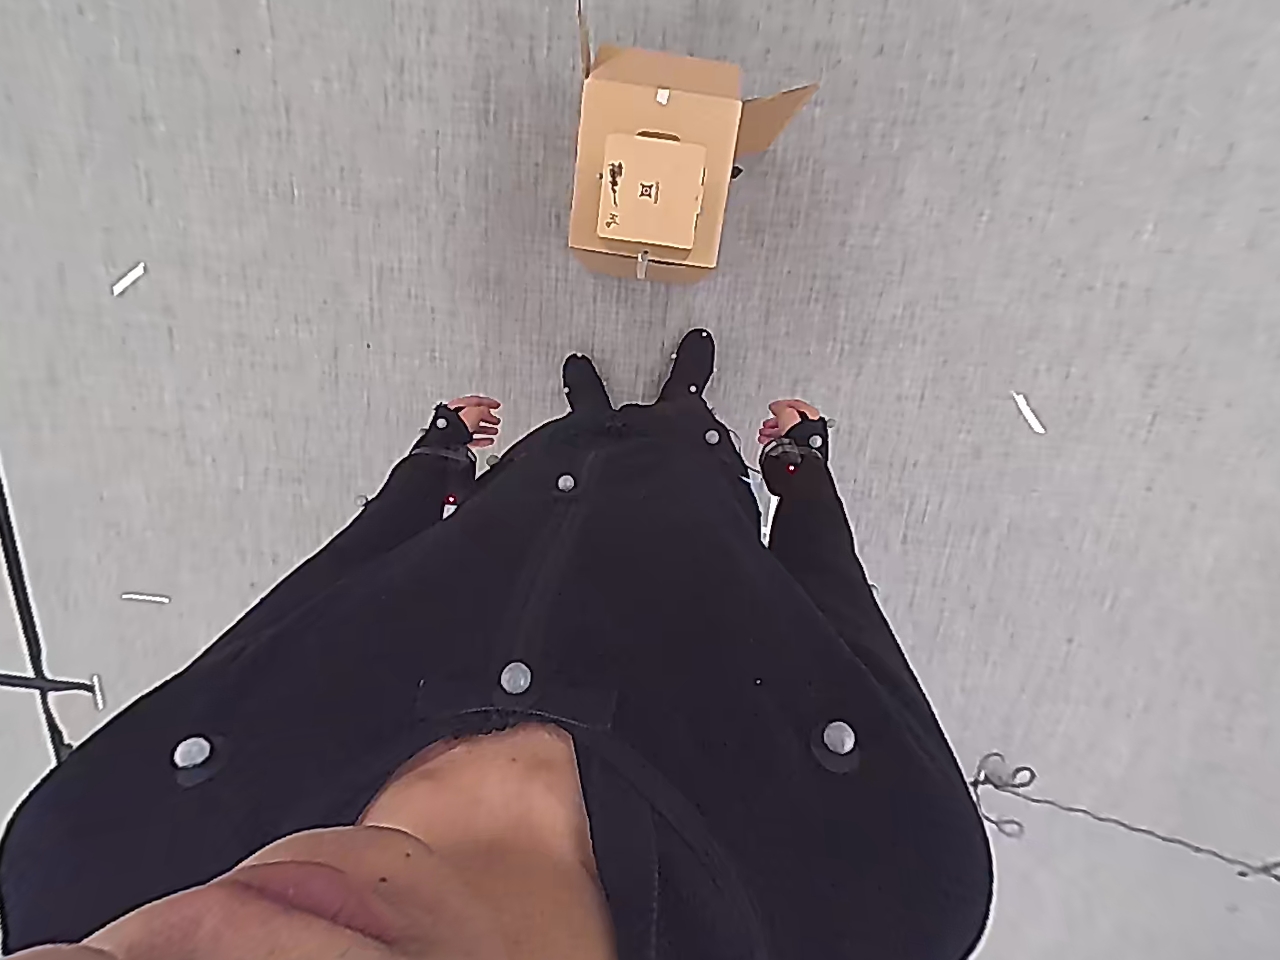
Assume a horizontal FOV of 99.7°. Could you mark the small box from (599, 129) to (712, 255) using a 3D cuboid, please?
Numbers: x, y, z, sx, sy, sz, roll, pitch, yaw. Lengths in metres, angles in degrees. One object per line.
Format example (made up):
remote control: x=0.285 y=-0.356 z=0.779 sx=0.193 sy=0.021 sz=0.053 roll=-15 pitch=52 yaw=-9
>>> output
small box: x=0.025 y=-0.522 z=1.004 sx=0.179 sy=0.176 sz=0.168 roll=8 pitch=107 yaw=-2
